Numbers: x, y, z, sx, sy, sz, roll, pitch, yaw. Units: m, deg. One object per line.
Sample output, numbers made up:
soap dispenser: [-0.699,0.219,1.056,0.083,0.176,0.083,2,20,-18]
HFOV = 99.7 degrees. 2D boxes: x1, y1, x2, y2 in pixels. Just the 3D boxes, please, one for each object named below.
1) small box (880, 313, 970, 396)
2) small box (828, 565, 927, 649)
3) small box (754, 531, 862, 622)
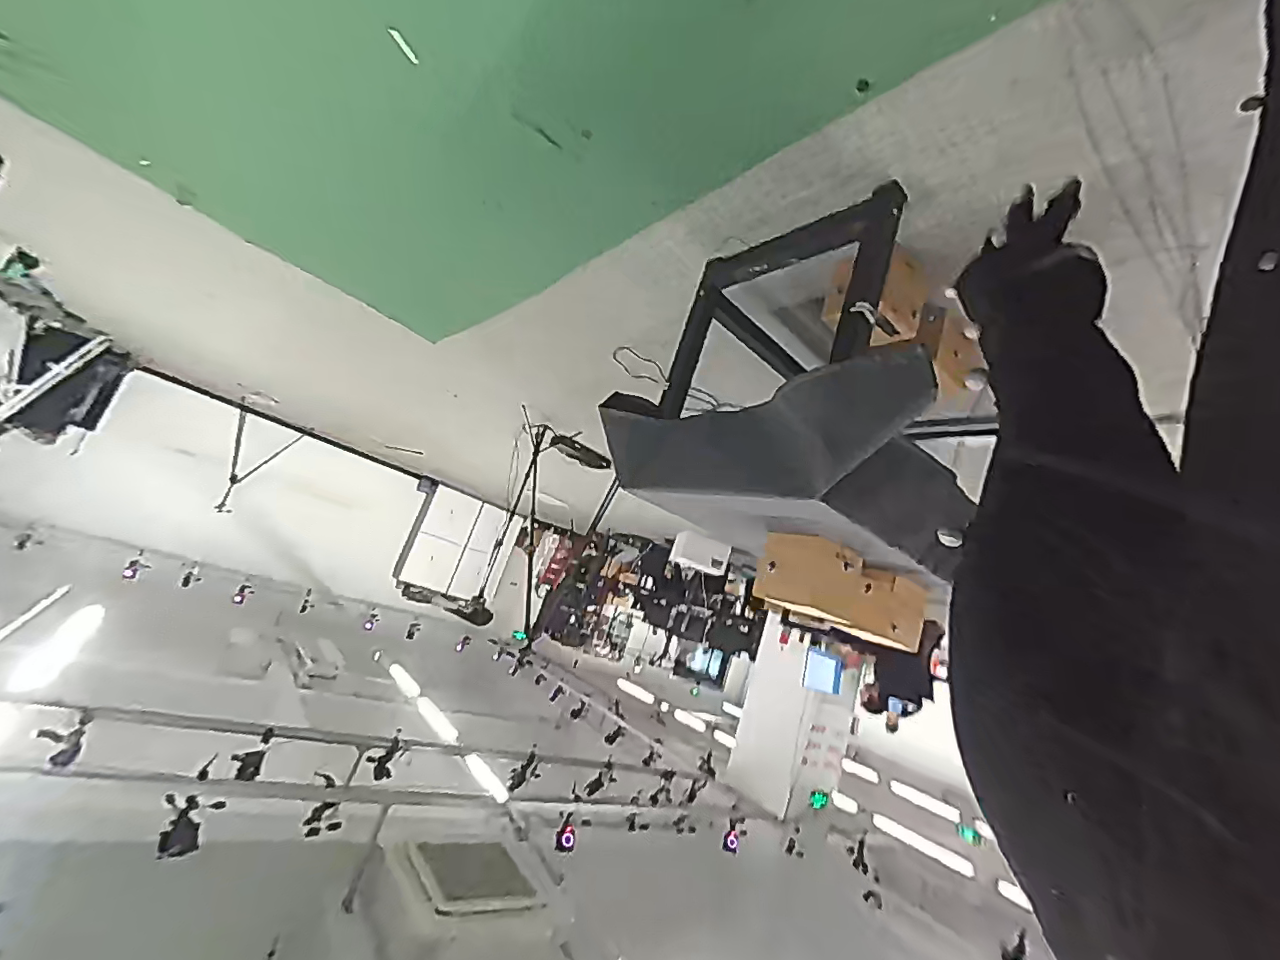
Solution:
small box: [0.824,-0.363,1.560,0.179,0.176,0.168,25,166,-34]
small box: [0.646,0.337,1.463,0.179,0.176,0.168,26,166,-30]
small box: [0.416,0.232,1.335,0.168,0.176,0.179,25,166,-33]
